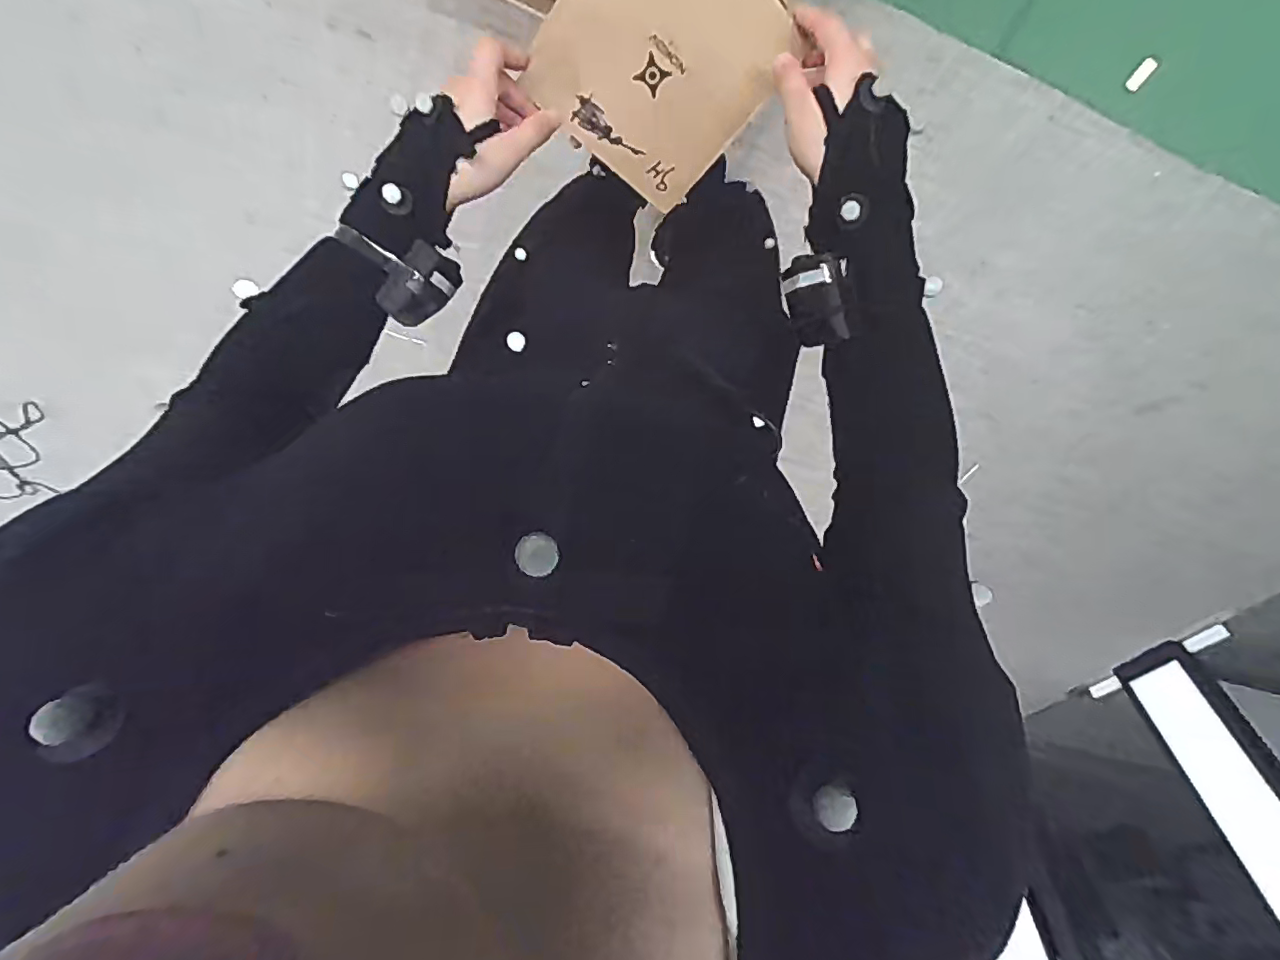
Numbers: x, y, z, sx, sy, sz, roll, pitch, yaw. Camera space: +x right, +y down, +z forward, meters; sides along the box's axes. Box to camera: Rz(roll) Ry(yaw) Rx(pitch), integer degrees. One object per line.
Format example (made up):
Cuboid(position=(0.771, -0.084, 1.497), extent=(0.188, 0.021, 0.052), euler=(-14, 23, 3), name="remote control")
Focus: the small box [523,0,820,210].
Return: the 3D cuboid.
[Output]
Cuboid(position=(0.022, -0.389, 0.467), extent=(0.168, 0.176, 0.179), euler=(29, 135, -29), name="small box")
